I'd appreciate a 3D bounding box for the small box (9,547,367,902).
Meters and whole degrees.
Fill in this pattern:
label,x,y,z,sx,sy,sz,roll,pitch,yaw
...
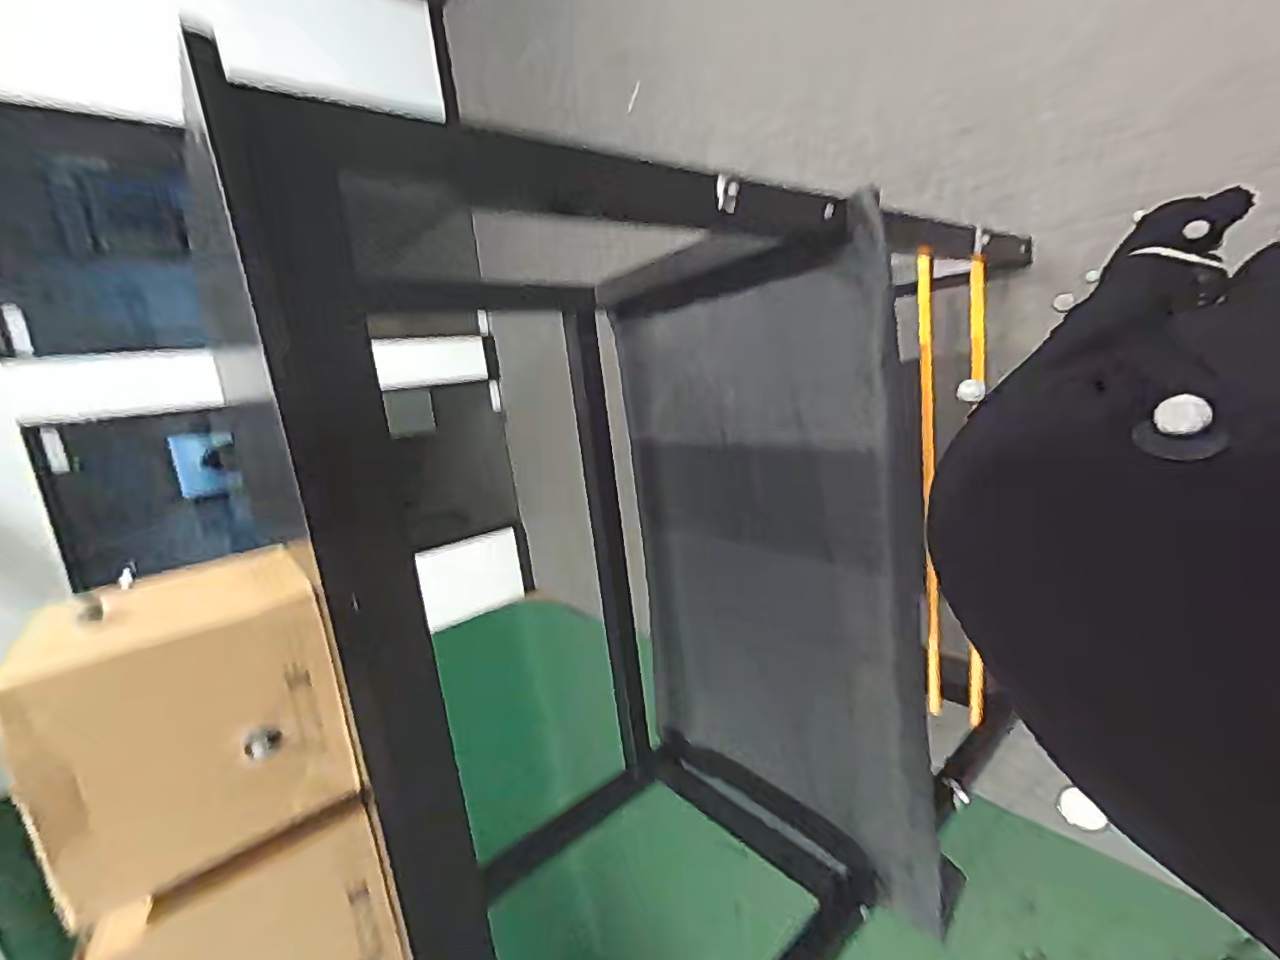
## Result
label,x,y,z,sx,sy,sz,roll,pitch,yaw
small box,-0.335,0.161,0.432,0.179,0.176,0.168,7,108,50
